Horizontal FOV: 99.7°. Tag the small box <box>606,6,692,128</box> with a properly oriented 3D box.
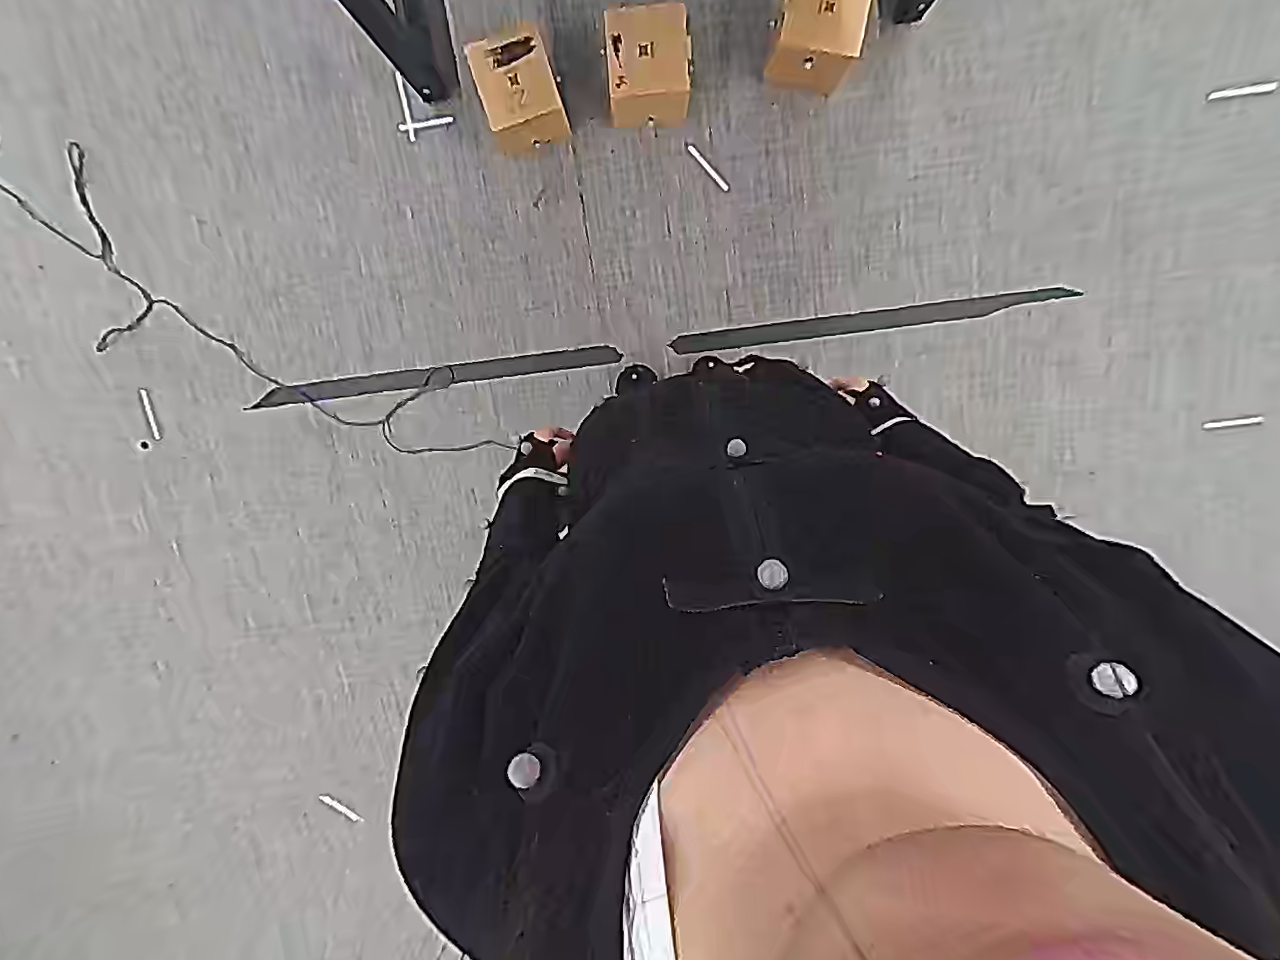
[{"bbox_3d":[0.020,-0.921,1.220,0.179,0.176,0.168,-3,102,2],"label":"small box"}]

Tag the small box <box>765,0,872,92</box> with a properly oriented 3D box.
[{"bbox_3d":[0.392,-0.997,1.198,0.179,0.176,0.168,9,103,0],"label":"small box"}]
